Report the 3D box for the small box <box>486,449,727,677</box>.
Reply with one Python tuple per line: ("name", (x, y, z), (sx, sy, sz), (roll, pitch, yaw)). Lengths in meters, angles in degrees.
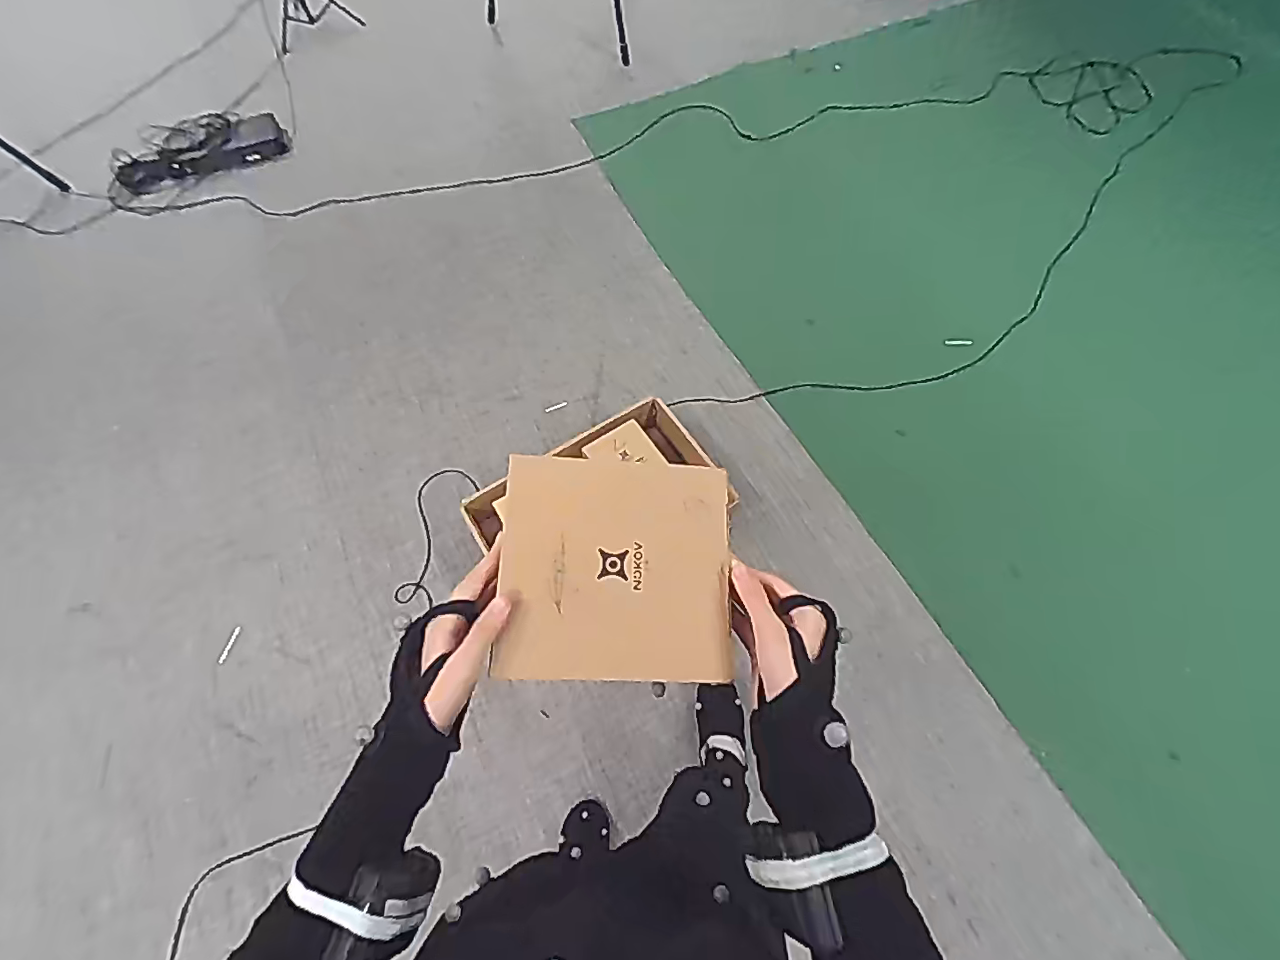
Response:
("small box", (-0.029, 0.082, 0.486), (0.179, 0.176, 0.168), (4, 73, -6))
